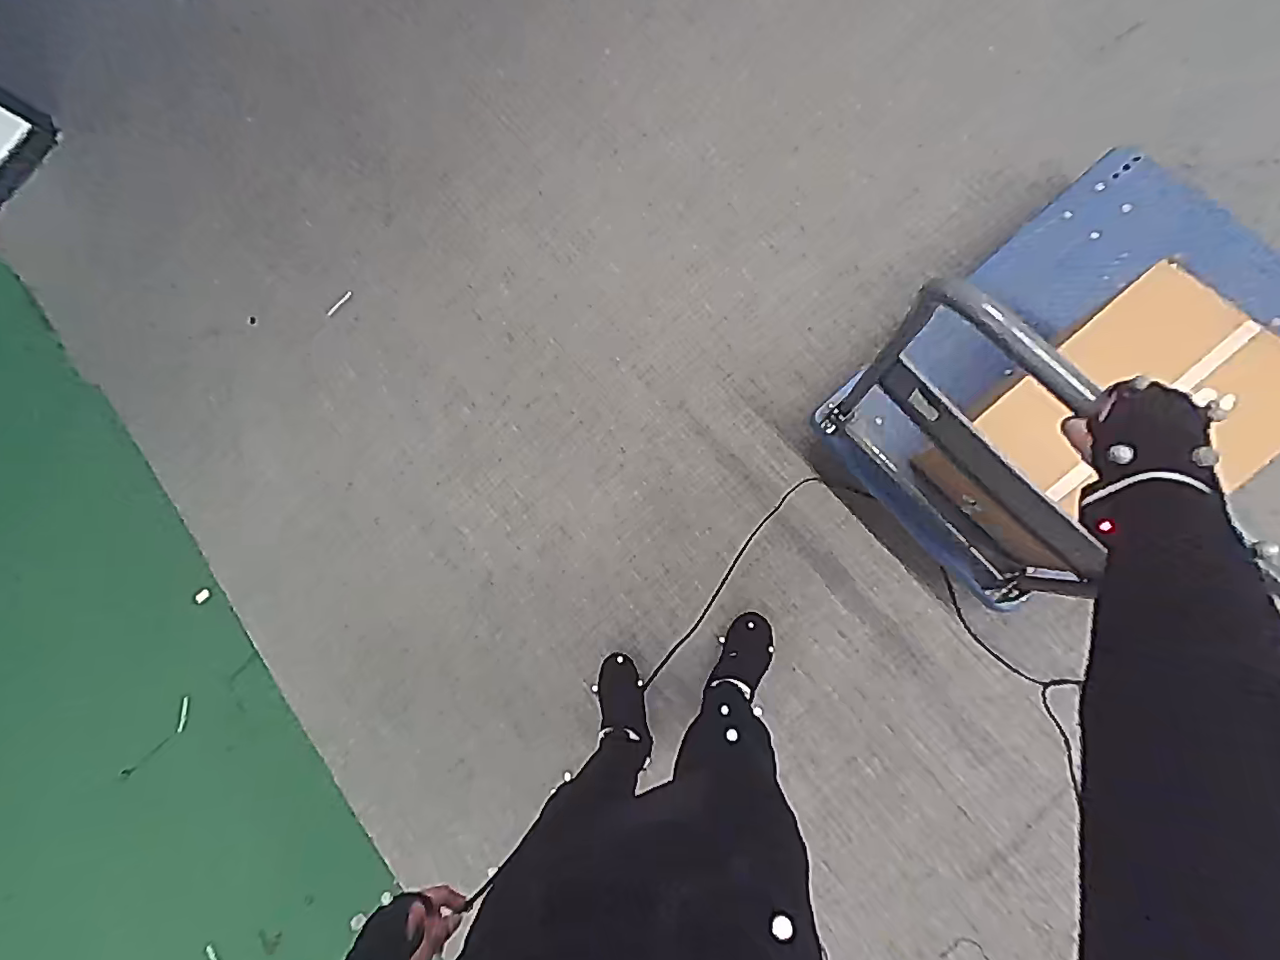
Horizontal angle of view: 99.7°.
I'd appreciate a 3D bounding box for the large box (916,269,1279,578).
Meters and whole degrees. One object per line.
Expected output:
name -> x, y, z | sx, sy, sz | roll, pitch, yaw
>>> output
large box -> 0.800, -0.073, 0.981 | 0.408, 0.320, 0.320 | -43, 78, 4
